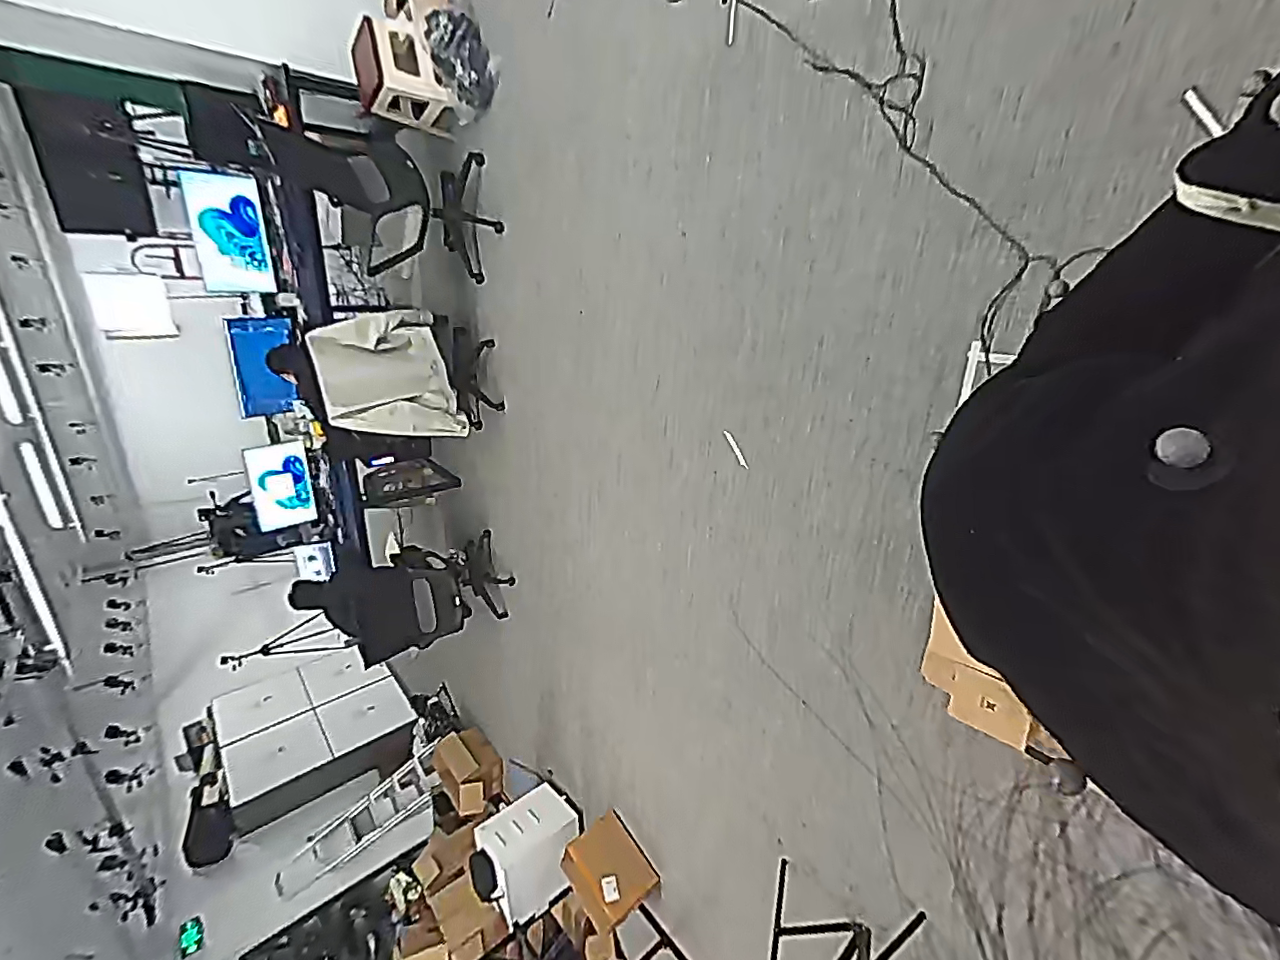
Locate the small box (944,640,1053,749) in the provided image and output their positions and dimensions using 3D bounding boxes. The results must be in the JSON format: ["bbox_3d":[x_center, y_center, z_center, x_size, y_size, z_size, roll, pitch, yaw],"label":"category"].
[{"bbox_3d":[0.904,0.528,1.365,0.179,0.176,0.168,18,116,45],"label":"small box"}]
